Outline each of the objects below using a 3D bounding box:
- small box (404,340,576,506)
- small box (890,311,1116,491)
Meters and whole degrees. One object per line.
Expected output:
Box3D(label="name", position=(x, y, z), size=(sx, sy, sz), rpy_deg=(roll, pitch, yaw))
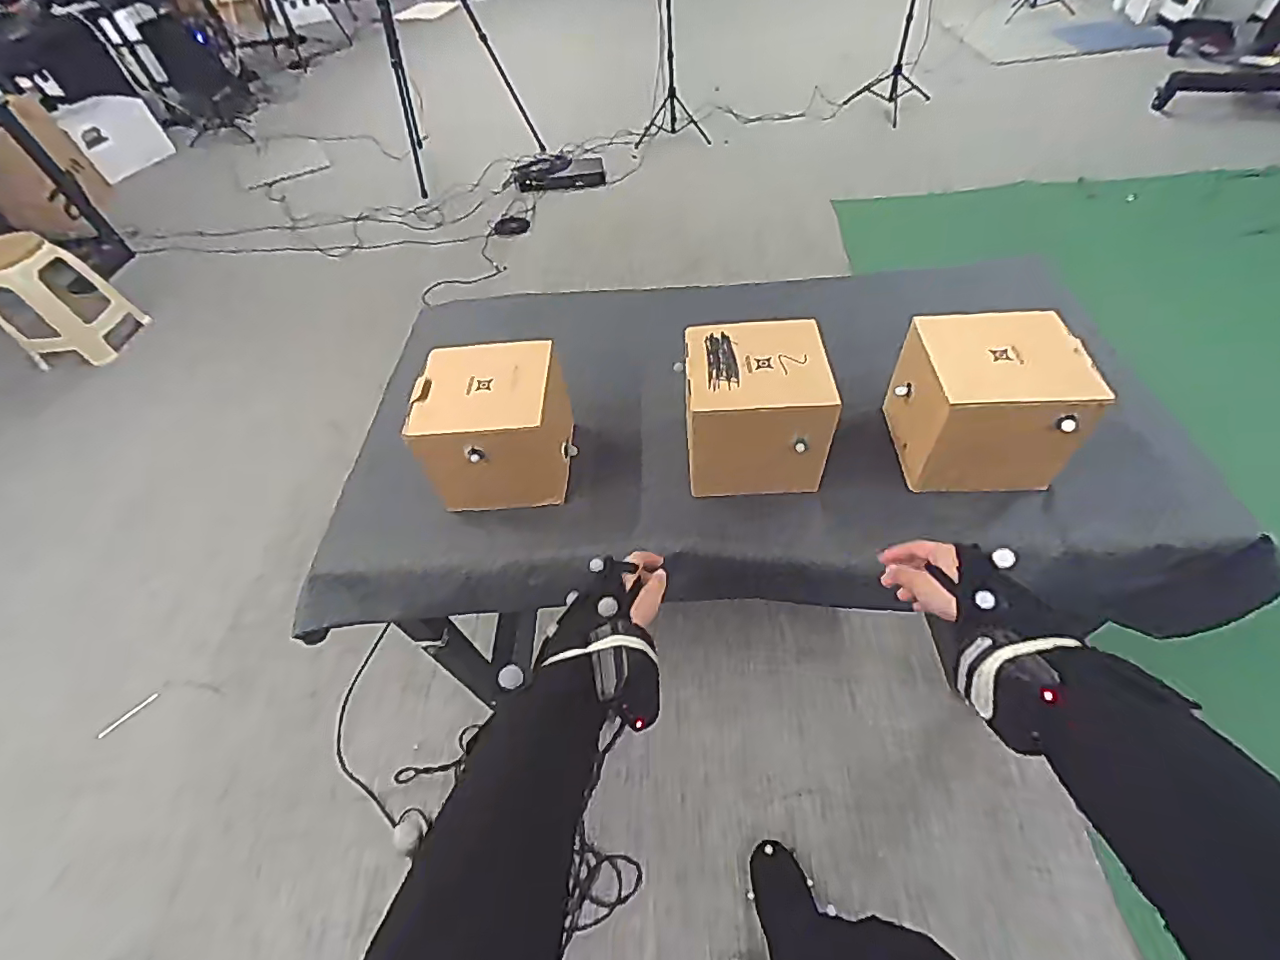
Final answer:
Box3D(label="small box", position=(-0.196, -0.075, 0.763), size=(0.179, 0.176, 0.168), rpy_deg=(-3, 53, 3))
Box3D(label="small box", position=(0.444, -0.097, 0.704), size=(0.179, 0.176, 0.168), rpy_deg=(-1, 52, 6))
